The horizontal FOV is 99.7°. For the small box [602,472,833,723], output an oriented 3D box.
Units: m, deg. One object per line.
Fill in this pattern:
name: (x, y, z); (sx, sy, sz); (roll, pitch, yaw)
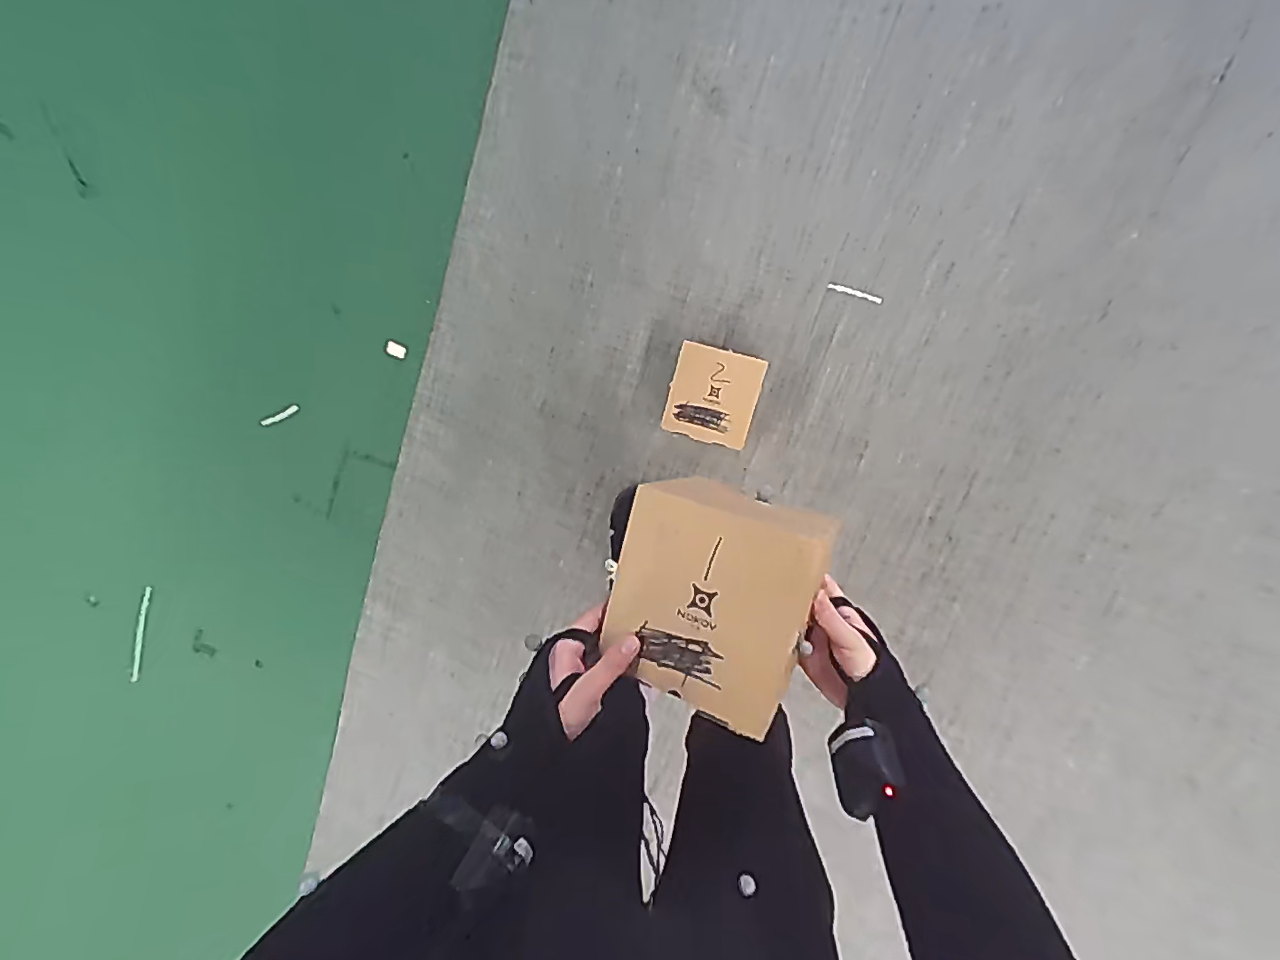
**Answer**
small box: (0.087, 0.097, 0.544); (0.168, 0.176, 0.179); (18, 99, 22)
